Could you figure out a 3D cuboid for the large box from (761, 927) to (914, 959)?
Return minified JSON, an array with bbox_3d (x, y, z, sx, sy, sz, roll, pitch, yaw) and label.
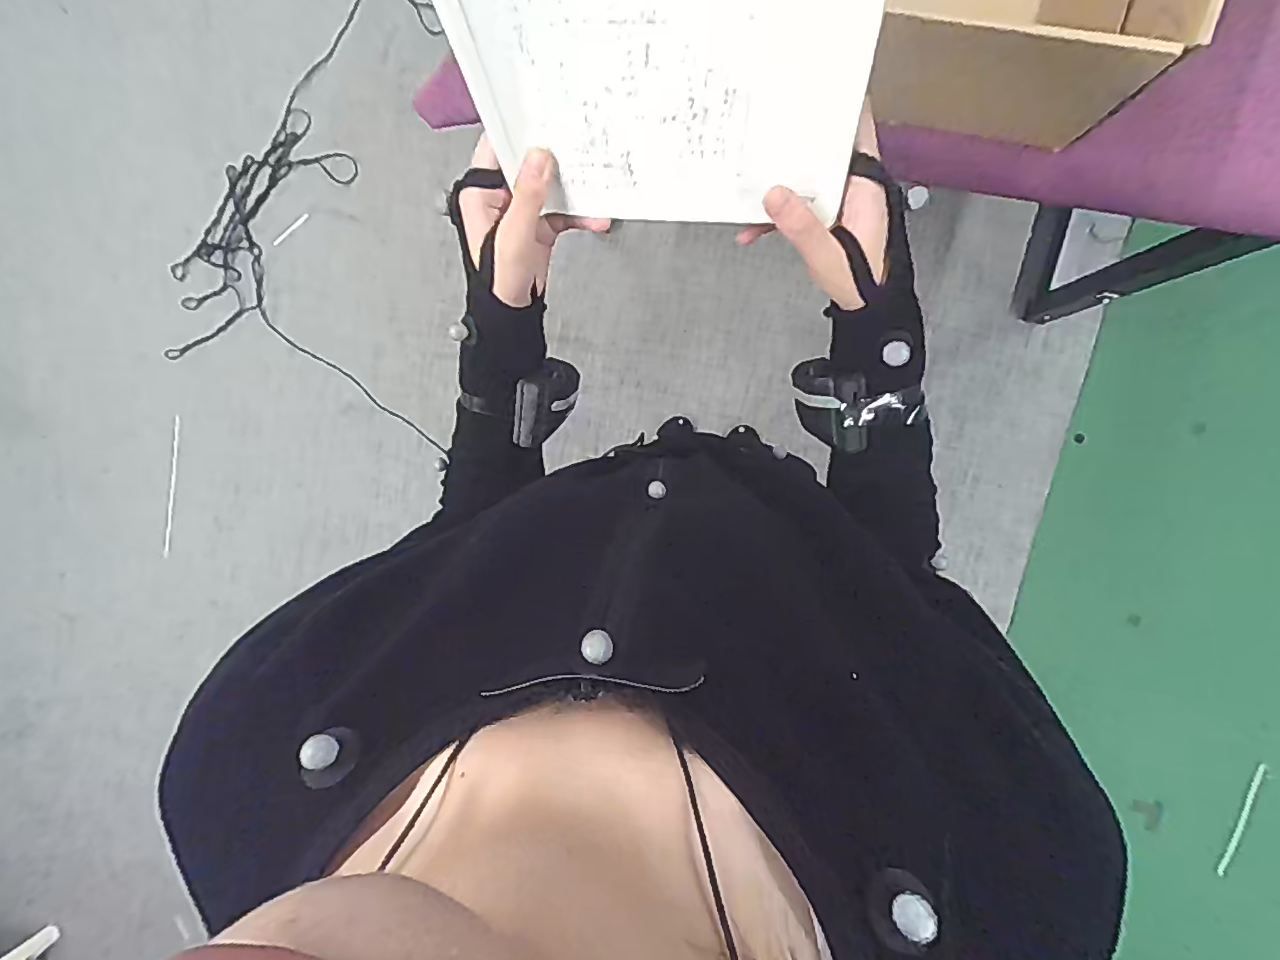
[{"bbox_3d":[0.540,1.450,1.409,0.408,0.320,0.320,-1,95,7],"label":"large box"}]
